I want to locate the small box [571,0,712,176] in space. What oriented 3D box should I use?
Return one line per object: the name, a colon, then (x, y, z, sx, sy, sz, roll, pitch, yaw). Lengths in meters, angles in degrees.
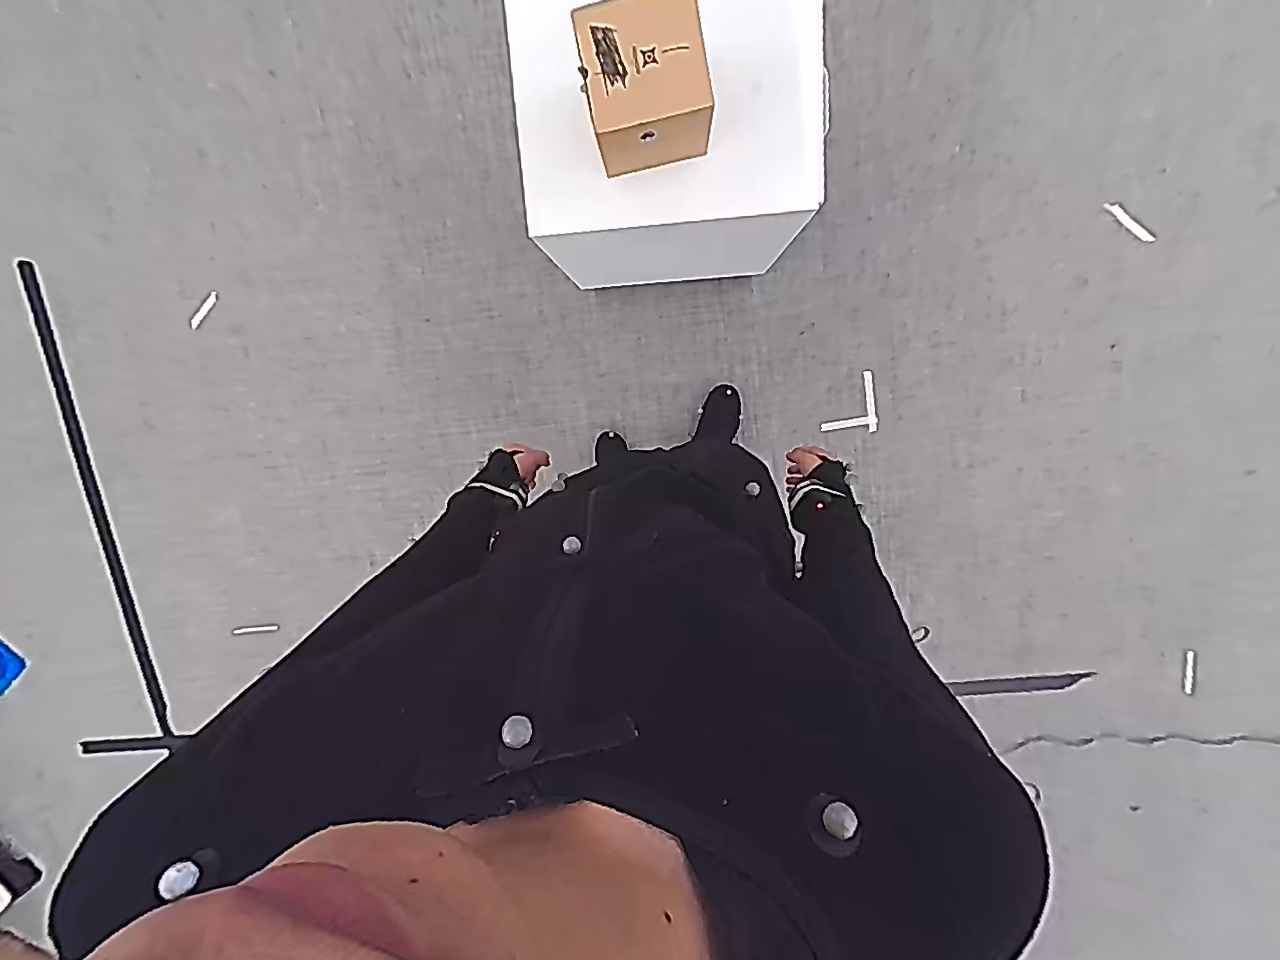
small box: (0.008, -0.599, 0.834, 0.179, 0.176, 0.168, -11, 99, 4)
